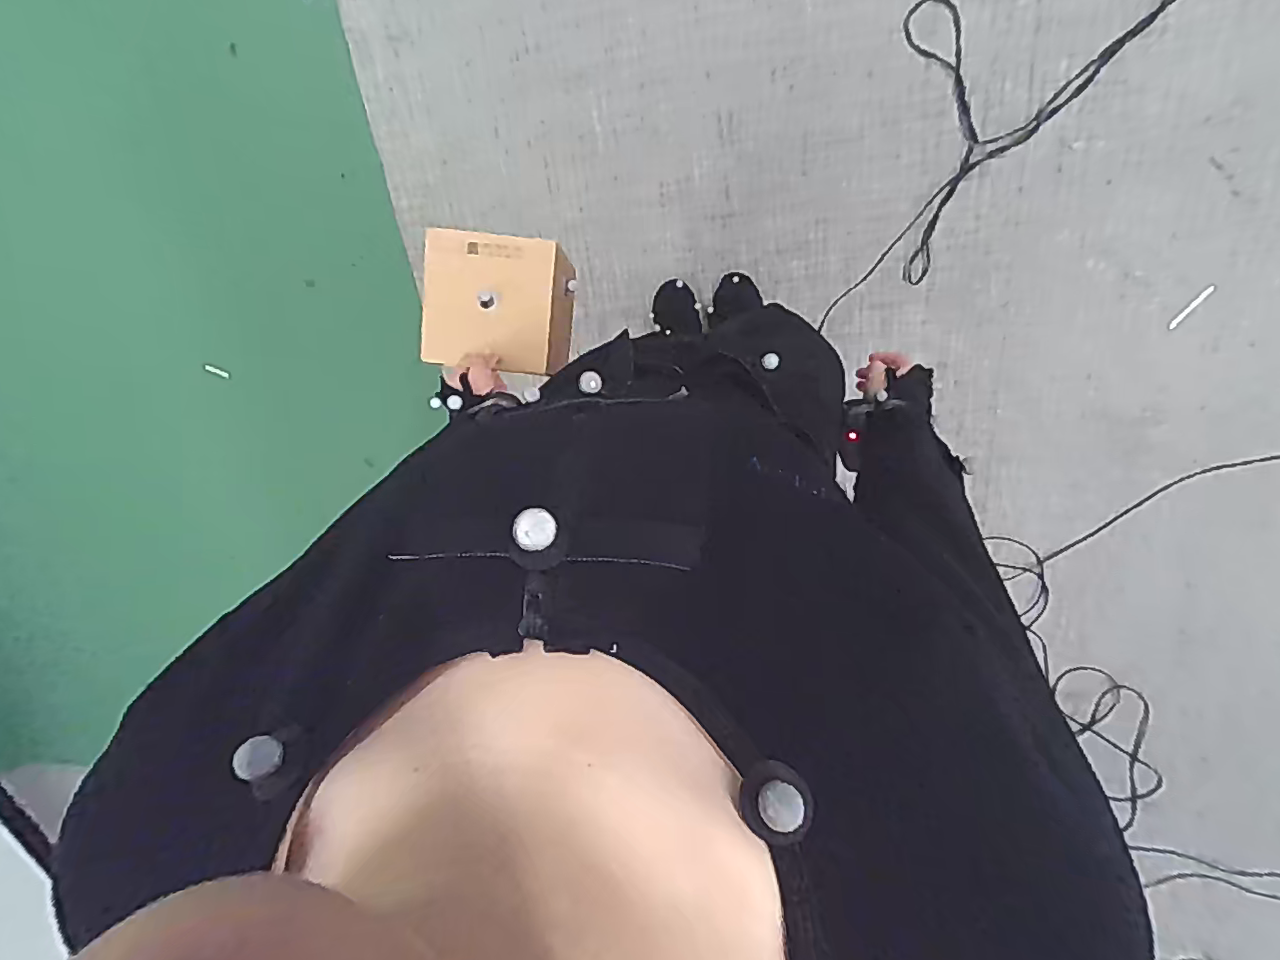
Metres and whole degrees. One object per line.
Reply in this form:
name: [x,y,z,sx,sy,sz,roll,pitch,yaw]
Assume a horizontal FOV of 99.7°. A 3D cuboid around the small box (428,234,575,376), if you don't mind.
small box: [-0.188,-0.239,0.765,0.168,0.179,0.176,5,103,2]
